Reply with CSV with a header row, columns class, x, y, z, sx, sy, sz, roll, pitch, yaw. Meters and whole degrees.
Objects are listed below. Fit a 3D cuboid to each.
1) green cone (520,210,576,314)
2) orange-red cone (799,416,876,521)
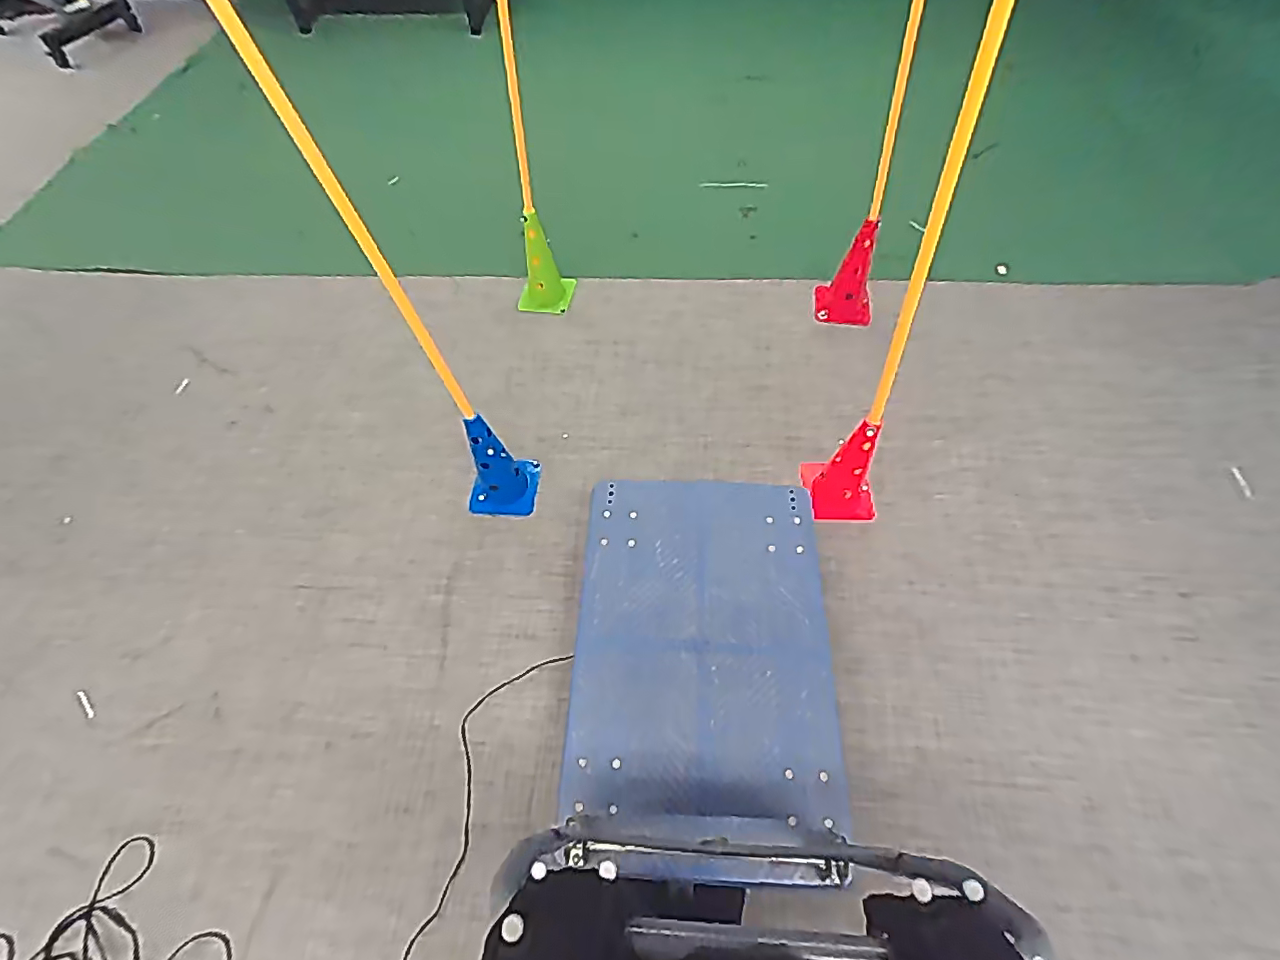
class,x,y,z,sx,sy,sz,roll,pitch,yaw
green cone,-0.371,-0.819,1.995,0.202,0.368,0.200,5,59,7
orange-red cone,0.579,-0.052,1.494,0.199,0.360,0.198,1,58,5
